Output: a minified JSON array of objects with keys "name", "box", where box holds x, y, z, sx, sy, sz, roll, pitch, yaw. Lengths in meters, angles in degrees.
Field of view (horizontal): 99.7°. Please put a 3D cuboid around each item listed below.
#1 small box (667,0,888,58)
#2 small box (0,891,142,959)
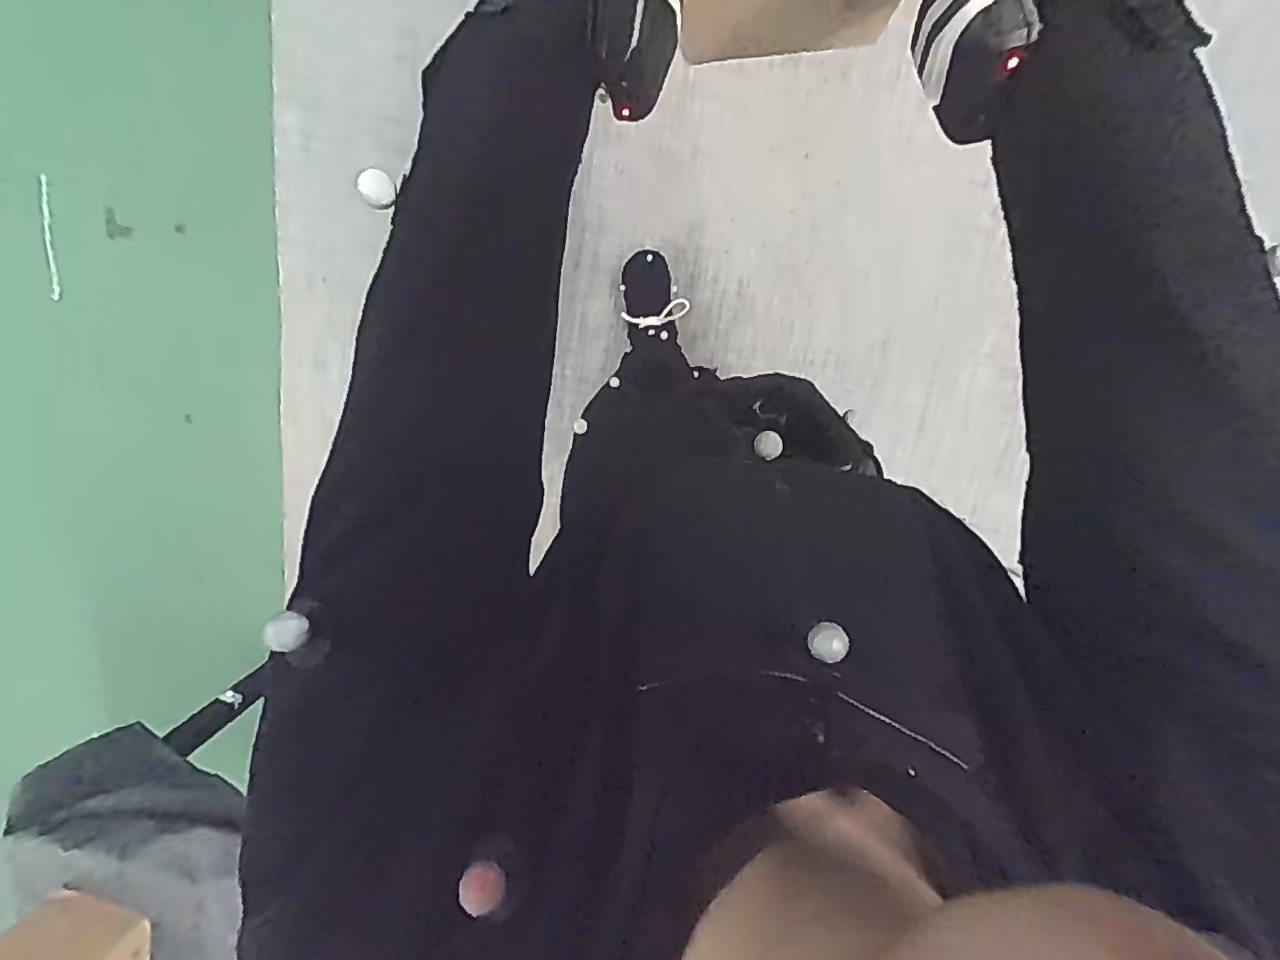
[{"name":"small box","box":[0.104,-0.433,0.388,0.179,0.176,0.168,2,113,10]},{"name":"small box","box":[-0.955,0.814,0.868,0.179,0.176,0.168,16,104,4]}]
